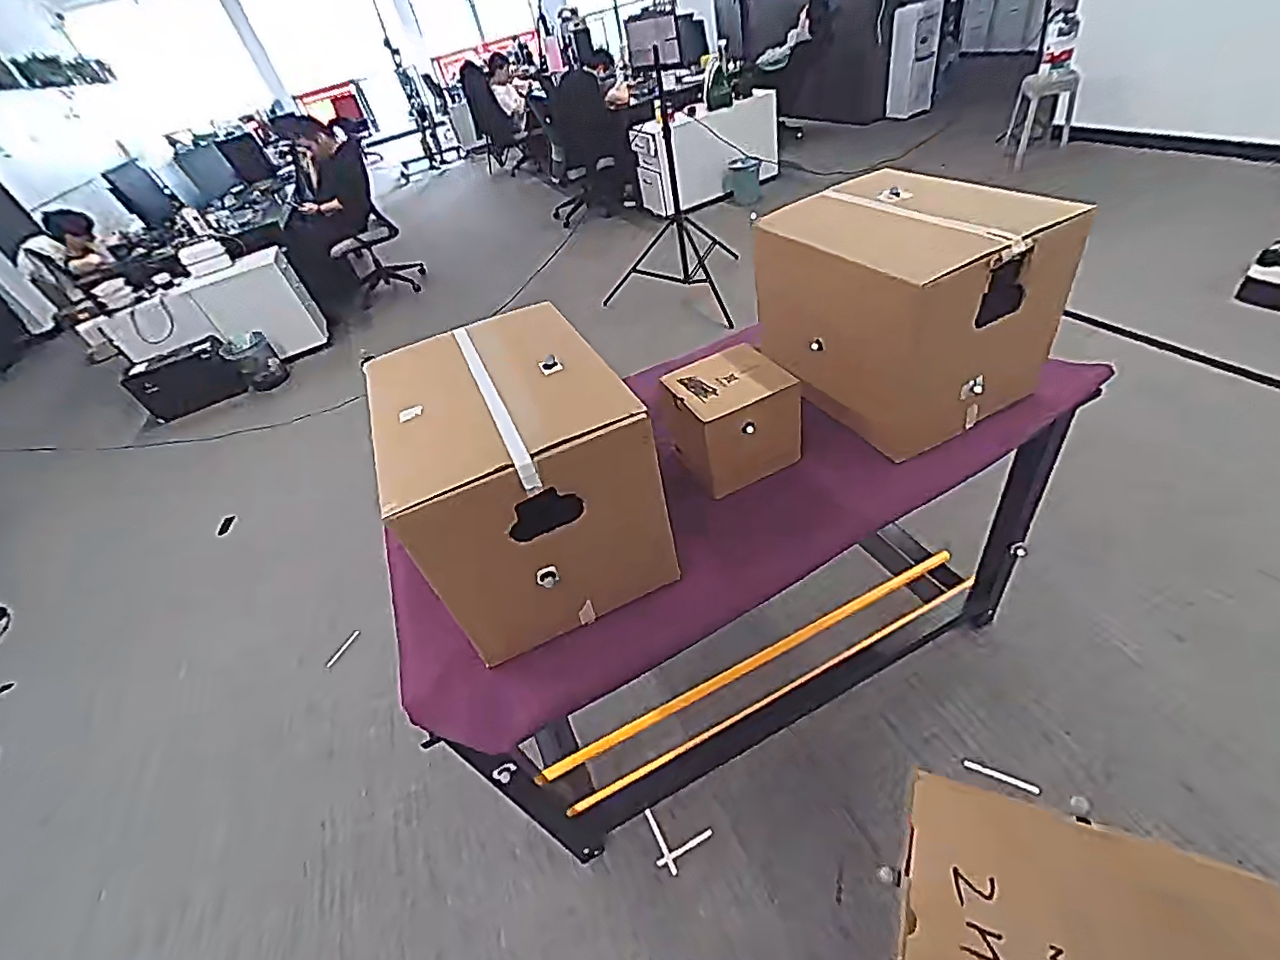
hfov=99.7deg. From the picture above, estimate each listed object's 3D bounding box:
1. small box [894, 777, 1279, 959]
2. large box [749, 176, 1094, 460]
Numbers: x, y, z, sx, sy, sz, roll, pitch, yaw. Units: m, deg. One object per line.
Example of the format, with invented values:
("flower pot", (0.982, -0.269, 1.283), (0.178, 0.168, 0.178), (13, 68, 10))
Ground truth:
("small box", (0.271, 0.307, 0.352), (0.179, 0.176, 0.168), (6, 67, 28))
("large box", (0.445, -0.301, 0.953), (0.320, 0.320, 0.408), (-25, 41, -11))
